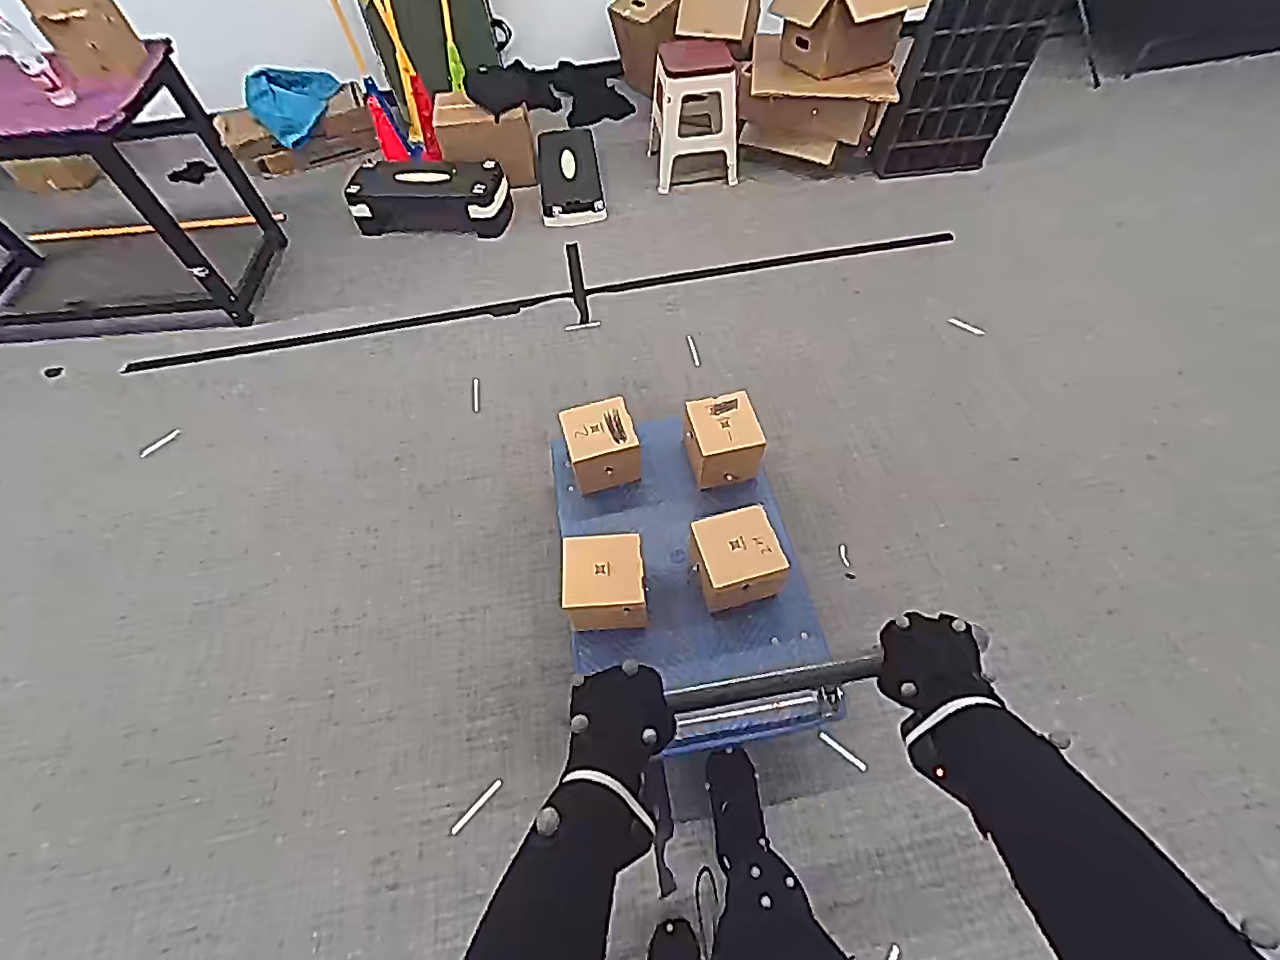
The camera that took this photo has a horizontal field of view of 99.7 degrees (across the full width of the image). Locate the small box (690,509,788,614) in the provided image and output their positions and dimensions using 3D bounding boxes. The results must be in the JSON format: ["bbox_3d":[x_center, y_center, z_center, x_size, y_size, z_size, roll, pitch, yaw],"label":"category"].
[{"bbox_3d":[0.223,0.195,1.264,0.179,0.176,0.168,-14,59,-6],"label":"small box"}]

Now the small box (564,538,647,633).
[{"bbox_3d":[-0.076,0.247,1.247,0.179,0.176,0.168,-4,58,-1],"label":"small box"}]

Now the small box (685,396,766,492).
[{"bbox_3d":[0.219,-0.094,1.442,0.168,0.176,0.179,-12,60,-5],"label":"small box"}]
